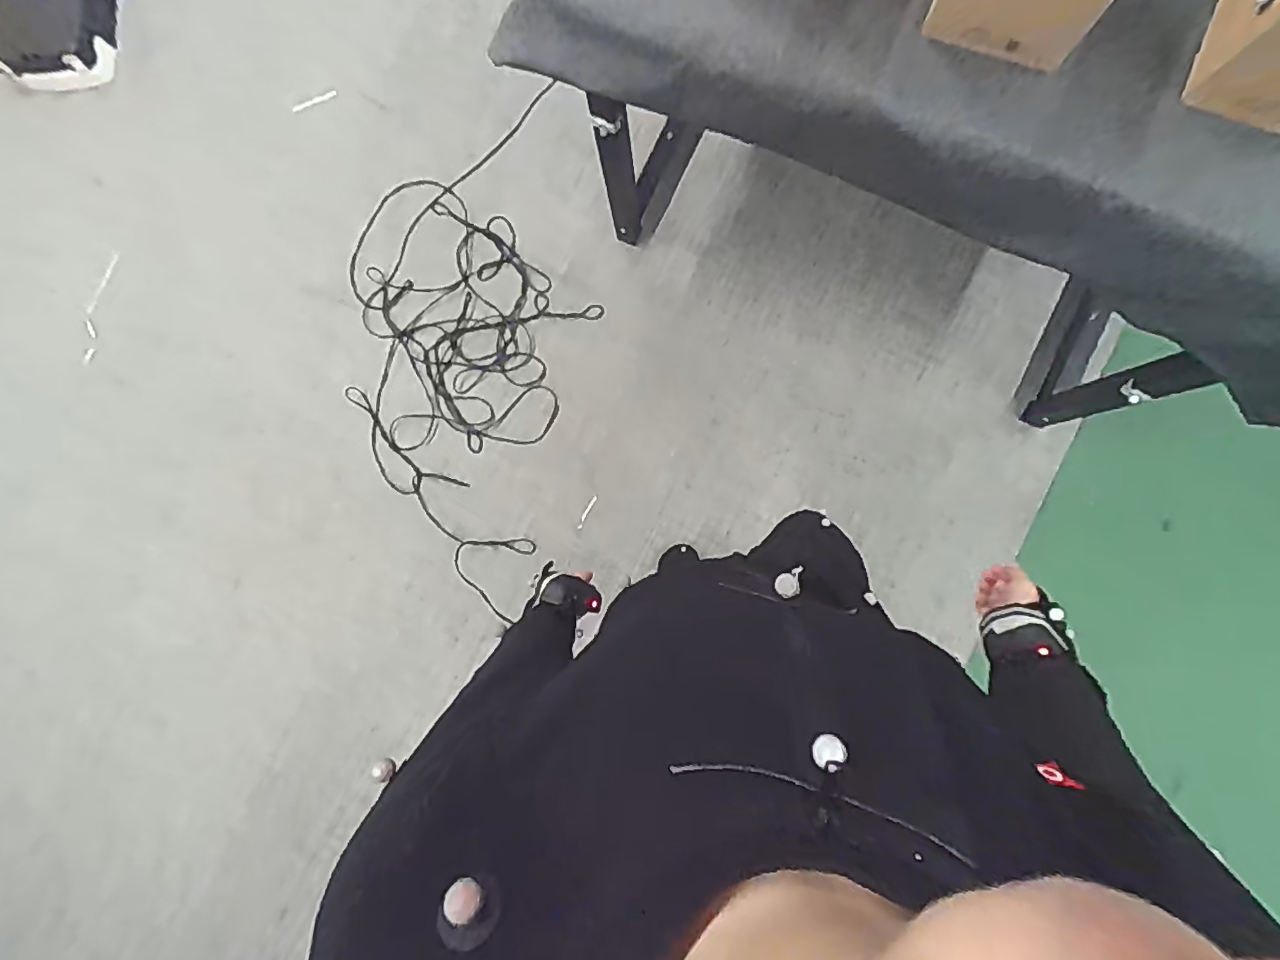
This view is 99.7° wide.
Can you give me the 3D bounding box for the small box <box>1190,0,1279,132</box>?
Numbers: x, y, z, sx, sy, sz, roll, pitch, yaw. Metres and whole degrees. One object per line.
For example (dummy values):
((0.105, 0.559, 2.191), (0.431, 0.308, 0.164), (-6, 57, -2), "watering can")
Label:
((0.745, -0.502, 0.562), (0.168, 0.176, 0.179), (22, 86, 4), "small box")
